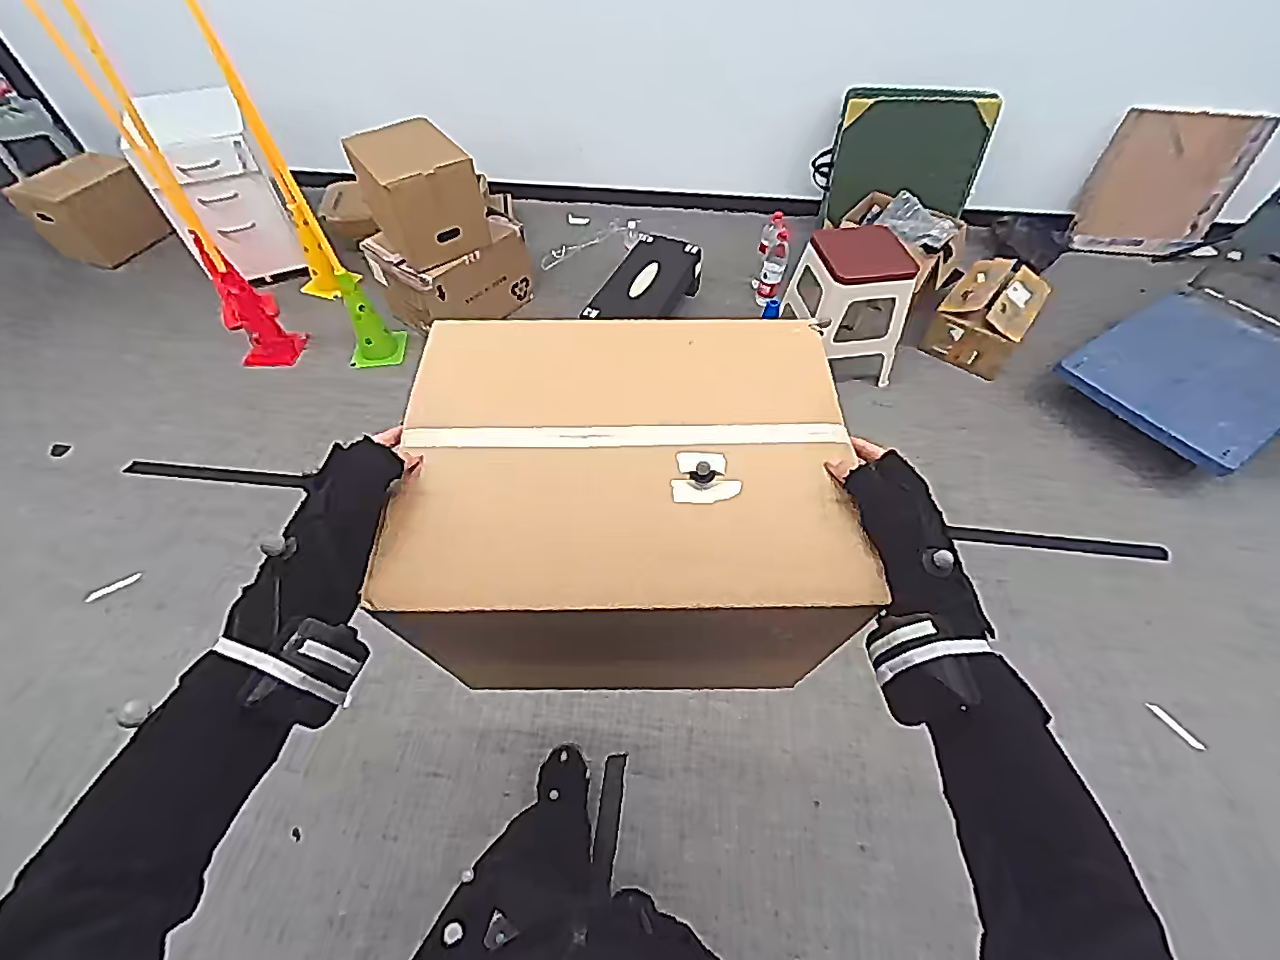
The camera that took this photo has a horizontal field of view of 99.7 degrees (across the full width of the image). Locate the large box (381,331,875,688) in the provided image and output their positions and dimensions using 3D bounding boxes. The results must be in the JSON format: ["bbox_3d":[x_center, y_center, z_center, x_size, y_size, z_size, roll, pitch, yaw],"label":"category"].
[{"bbox_3d":[-0.013,0.047,0.632,0.408,0.320,0.320,0,58,-1],"label":"large box"}]
